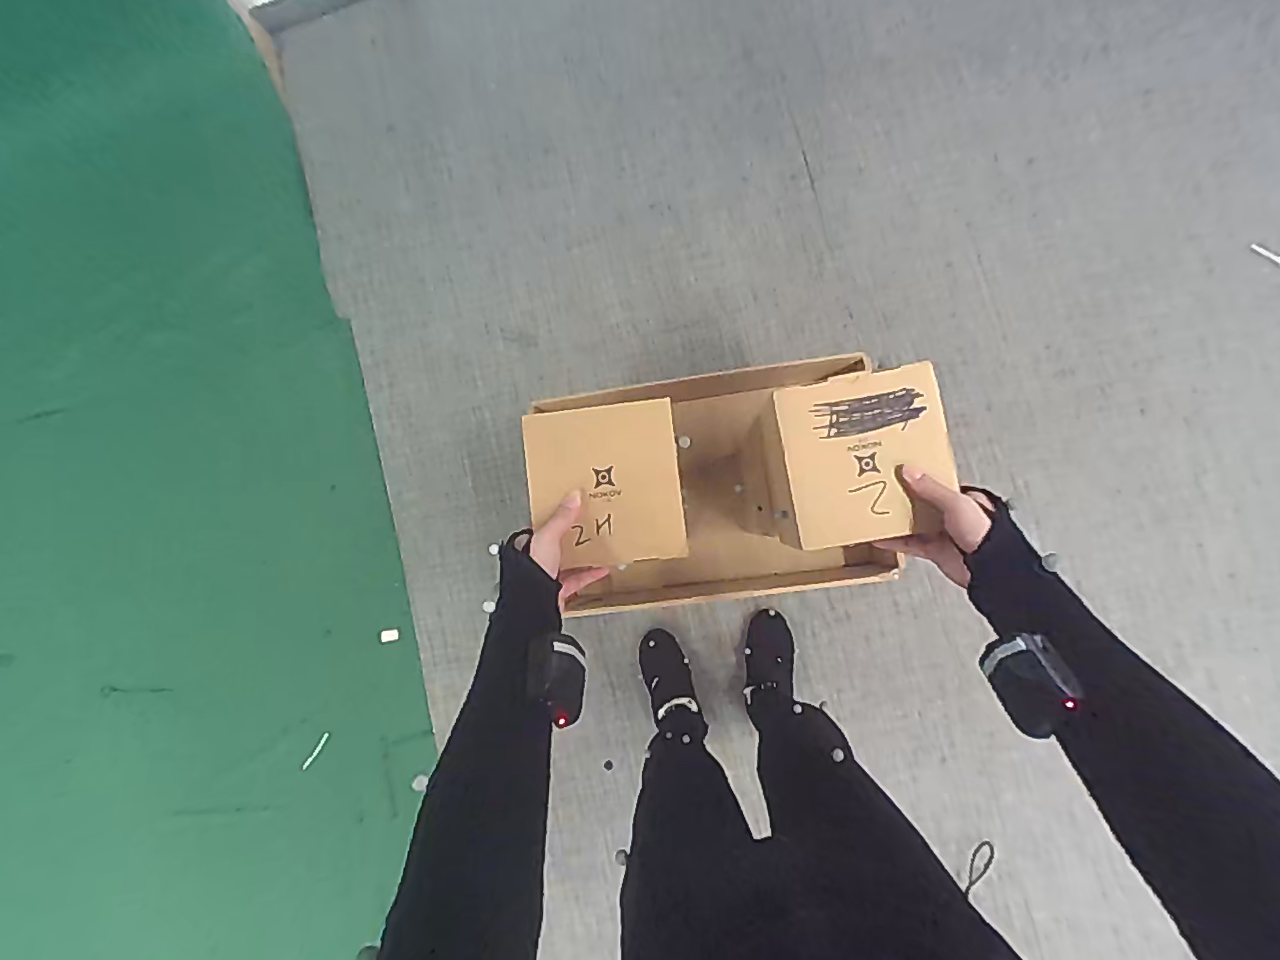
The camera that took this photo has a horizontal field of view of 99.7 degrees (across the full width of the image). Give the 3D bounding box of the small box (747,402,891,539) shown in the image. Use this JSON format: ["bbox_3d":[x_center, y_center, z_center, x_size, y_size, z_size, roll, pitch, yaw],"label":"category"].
[{"bbox_3d":[0.258,-0.007,0.819,0.168,0.176,0.179,-7,83,6],"label":"small box"}]

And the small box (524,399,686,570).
[{"bbox_3d":[-0.036,0.011,0.668,0.168,0.176,0.179,-7,86,3],"label":"small box"}]
